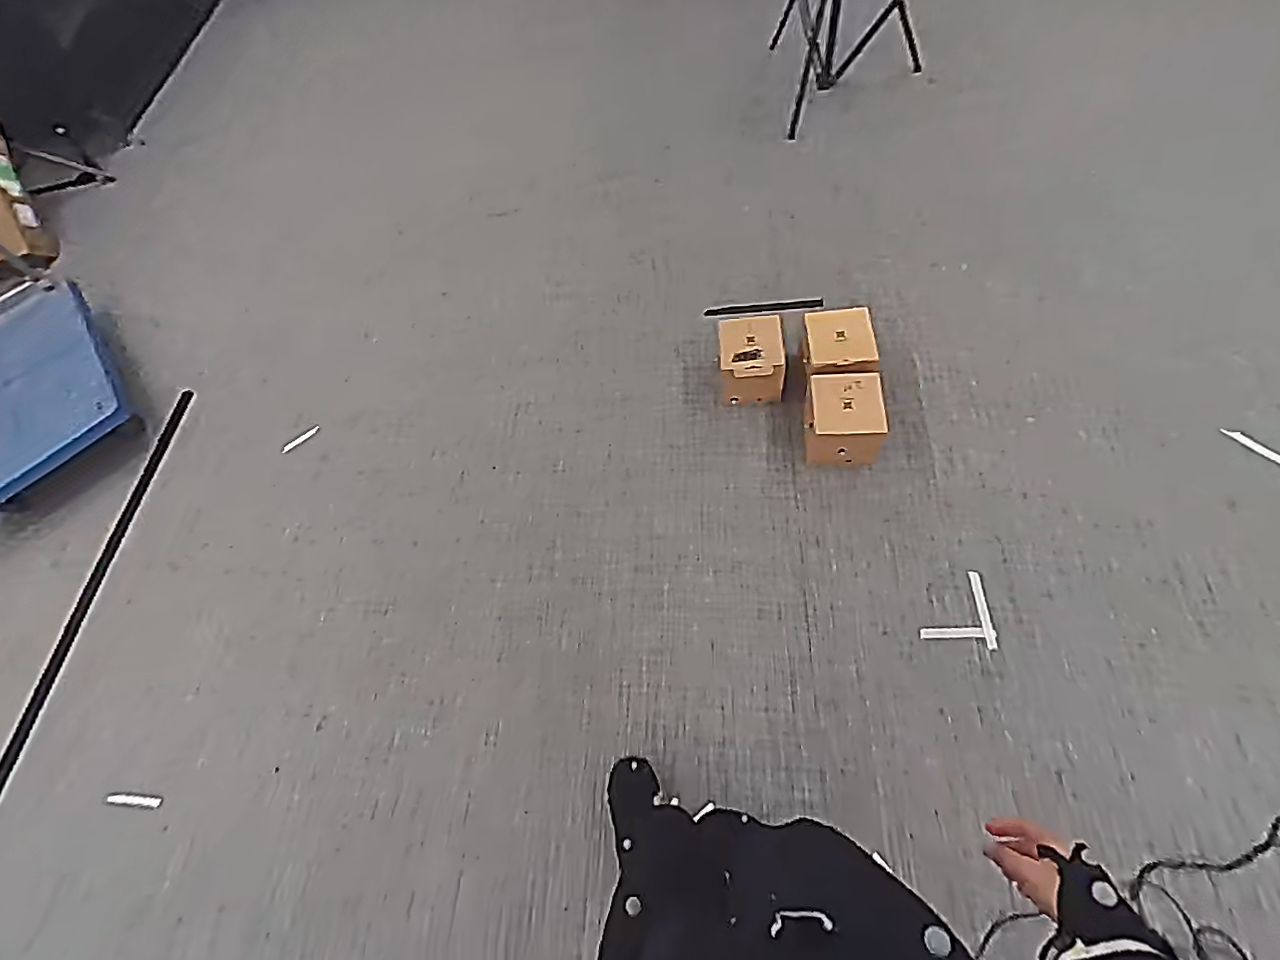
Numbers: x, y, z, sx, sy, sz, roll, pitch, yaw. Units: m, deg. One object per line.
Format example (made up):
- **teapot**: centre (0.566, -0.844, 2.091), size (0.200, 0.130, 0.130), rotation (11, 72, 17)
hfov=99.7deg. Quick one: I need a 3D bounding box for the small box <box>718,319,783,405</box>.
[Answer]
- **small box**: centre (0.306, -0.321, 1.511), size (0.168, 0.176, 0.179), rotation (-3, 63, 8)
